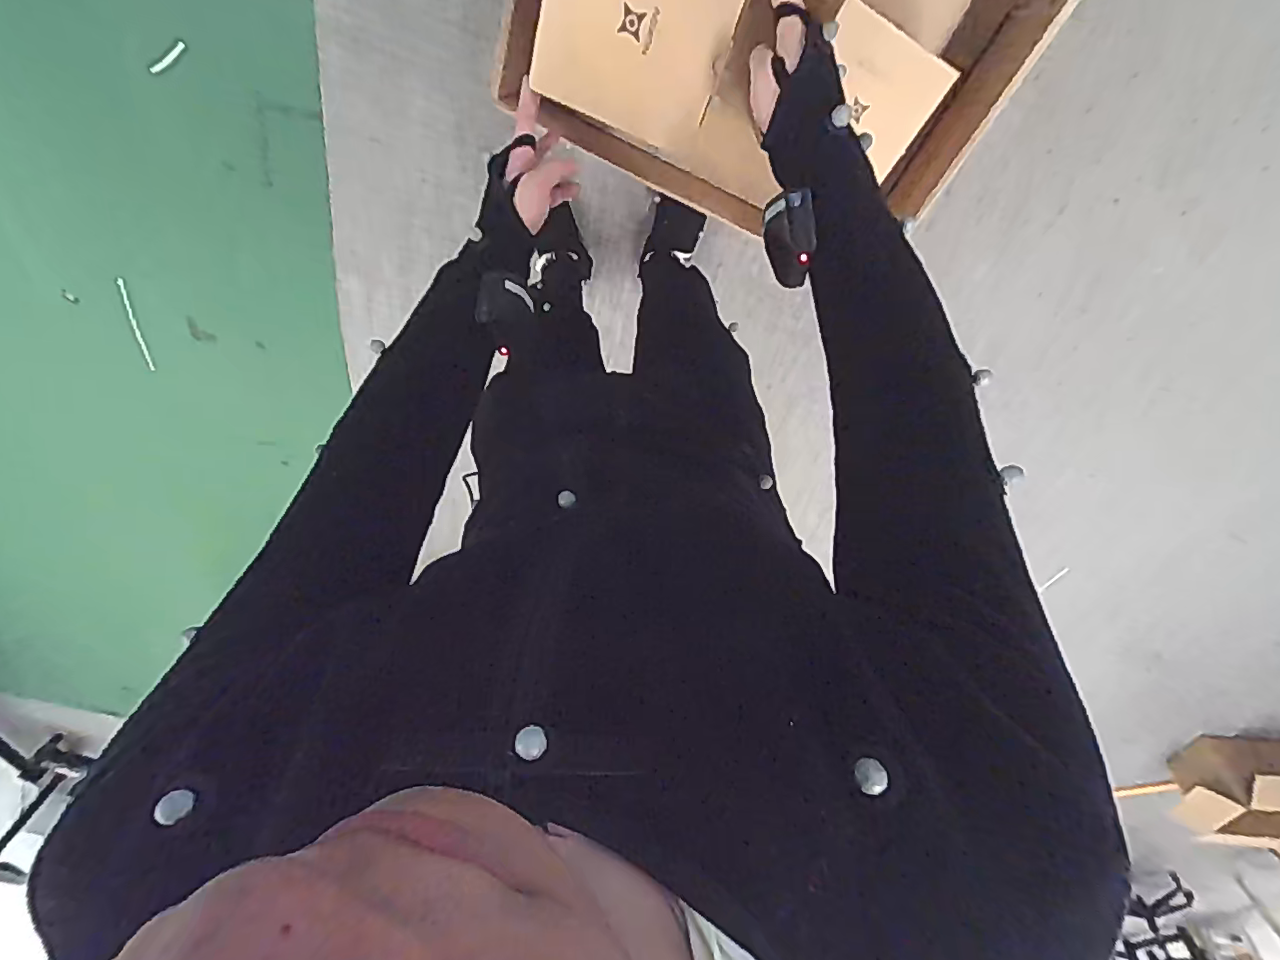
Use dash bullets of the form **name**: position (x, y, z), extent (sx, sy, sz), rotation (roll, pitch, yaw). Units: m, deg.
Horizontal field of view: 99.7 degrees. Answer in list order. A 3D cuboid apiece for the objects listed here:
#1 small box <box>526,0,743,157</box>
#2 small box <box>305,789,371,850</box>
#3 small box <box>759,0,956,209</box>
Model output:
- **small box**: position (0.002, -0.469, 0.555), extent (0.179, 0.176, 0.168), rotation (18, 133, -8)
- **small box**: position (-1.189, 1.335, 2.145), extent (0.168, 0.176, 0.179), rotation (13, 130, -5)
- **small box**: position (0.278, -0.512, 0.735), extent (0.168, 0.176, 0.179), rotation (24, 130, -12)
